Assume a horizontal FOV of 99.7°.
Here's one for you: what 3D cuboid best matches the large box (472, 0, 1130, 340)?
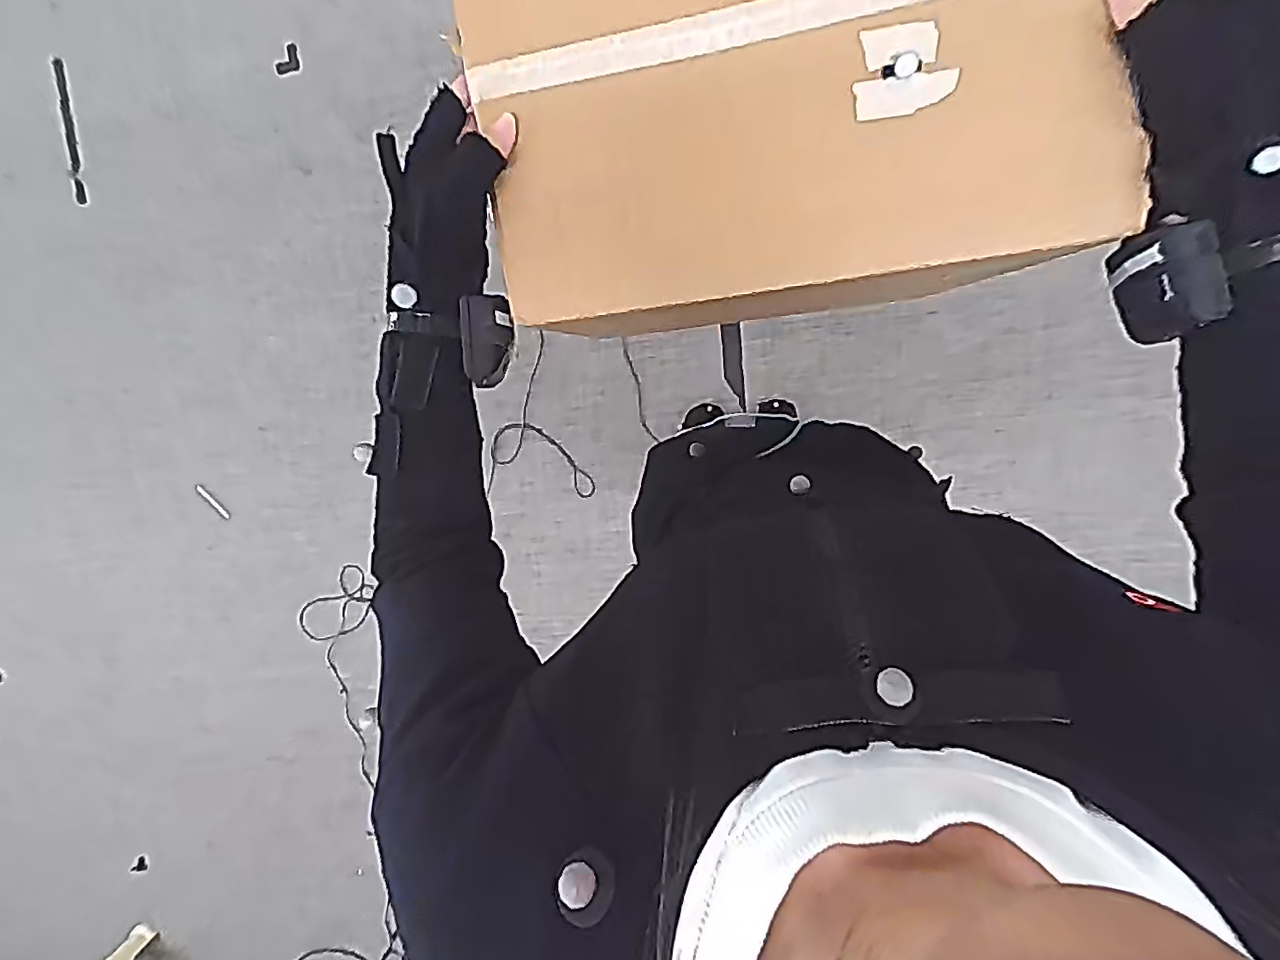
[{"bbox_3d":[0.106,-0.319,0.487,0.408,0.320,0.320,-6,102,8],"label":"large box"}]
